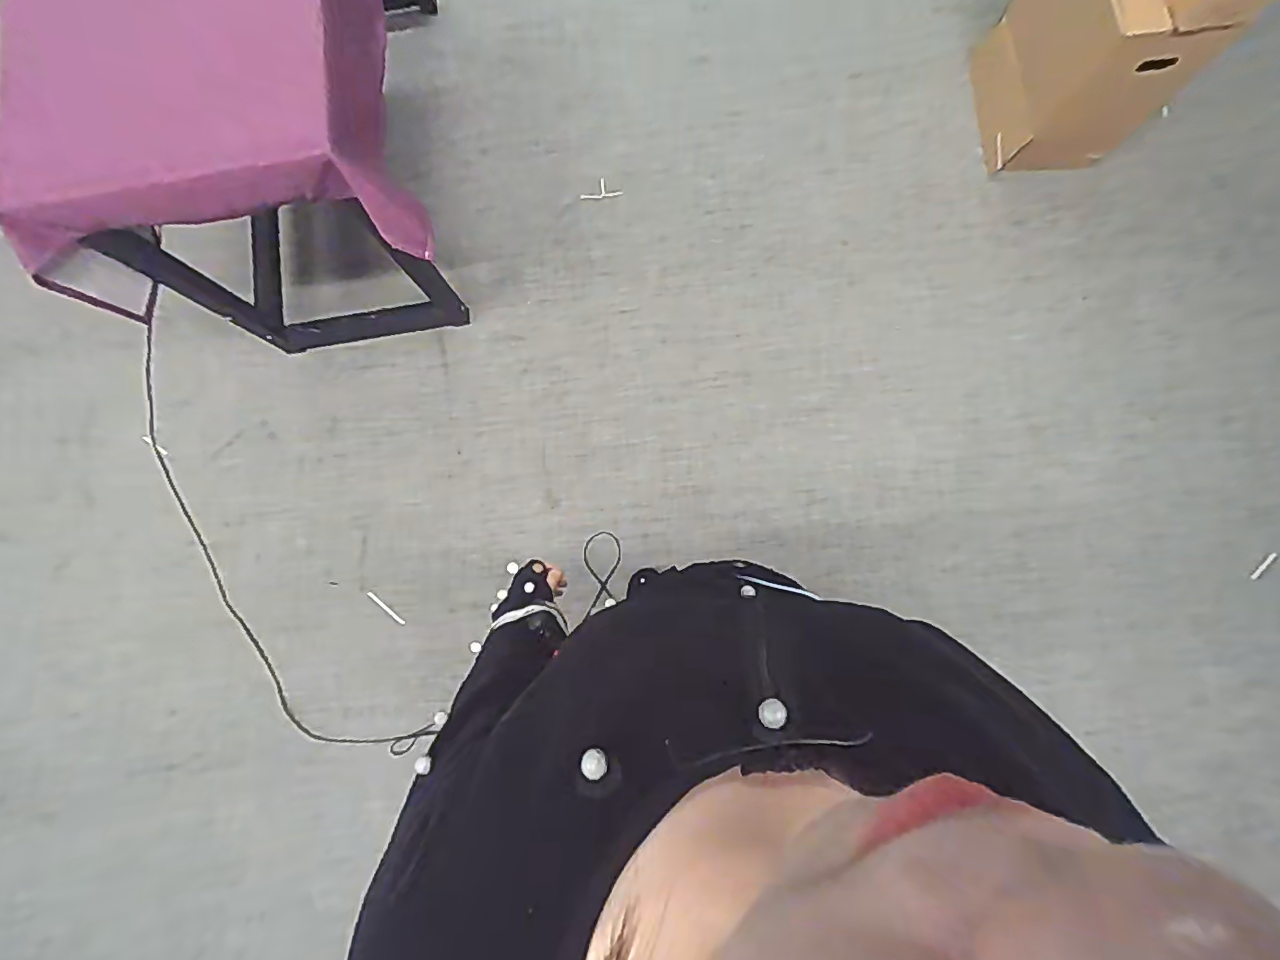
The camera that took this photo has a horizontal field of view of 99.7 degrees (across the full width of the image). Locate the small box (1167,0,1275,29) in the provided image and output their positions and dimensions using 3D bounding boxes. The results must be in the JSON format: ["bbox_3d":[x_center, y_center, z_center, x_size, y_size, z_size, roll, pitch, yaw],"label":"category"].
[{"bbox_3d":[1.250,-1.084,1.124,0.168,0.176,0.179,-6,80,0],"label":"small box"}]
